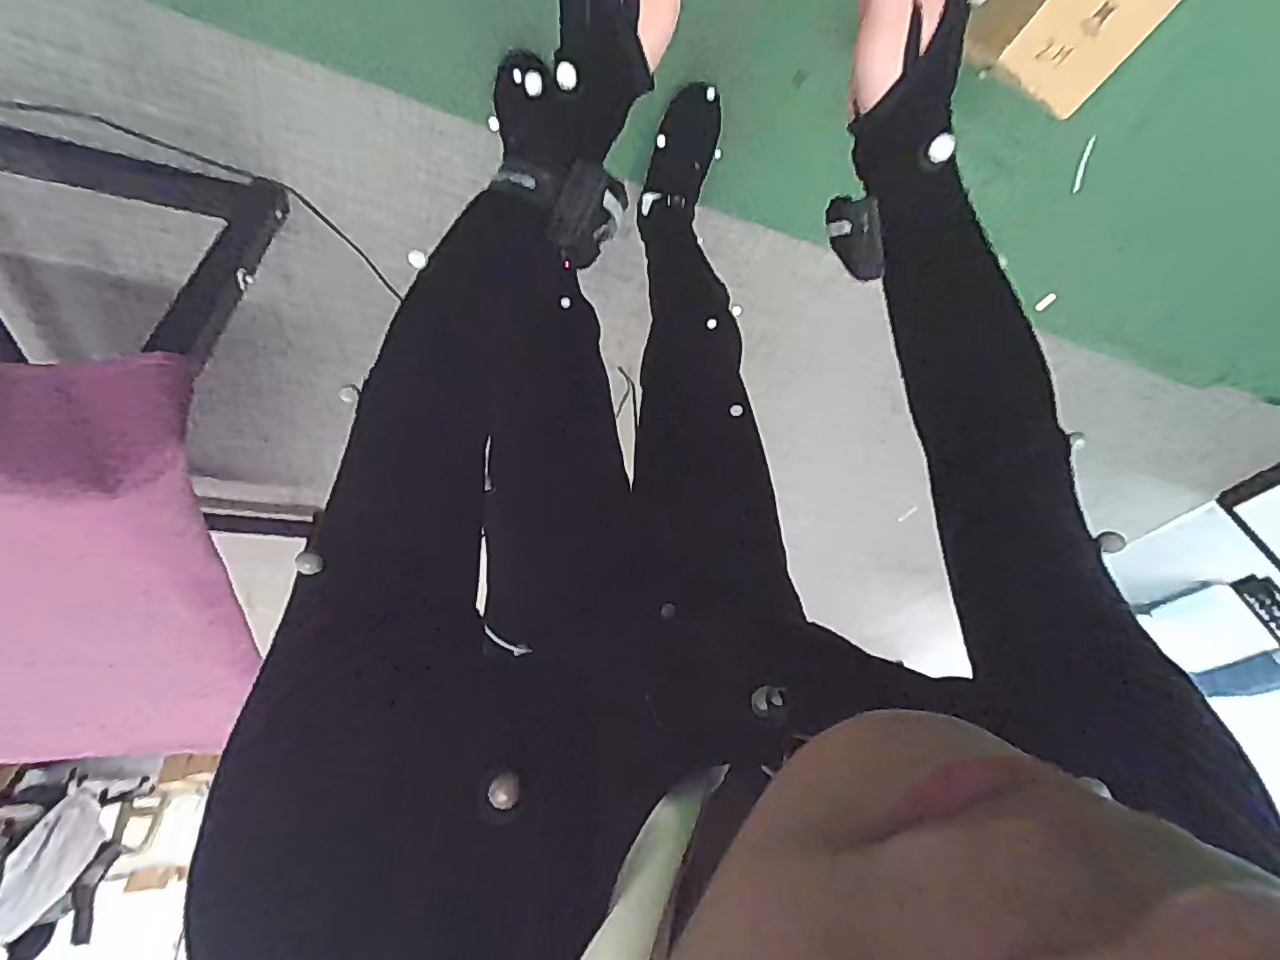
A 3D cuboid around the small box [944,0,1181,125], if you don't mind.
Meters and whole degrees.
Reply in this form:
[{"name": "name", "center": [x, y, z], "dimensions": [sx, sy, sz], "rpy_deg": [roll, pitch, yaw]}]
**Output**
[{"name": "small box", "center": [0.564, -0.641, 0.736], "dimensions": [0.168, 0.176, 0.179], "rpy_deg": [14, 138, -26]}]
